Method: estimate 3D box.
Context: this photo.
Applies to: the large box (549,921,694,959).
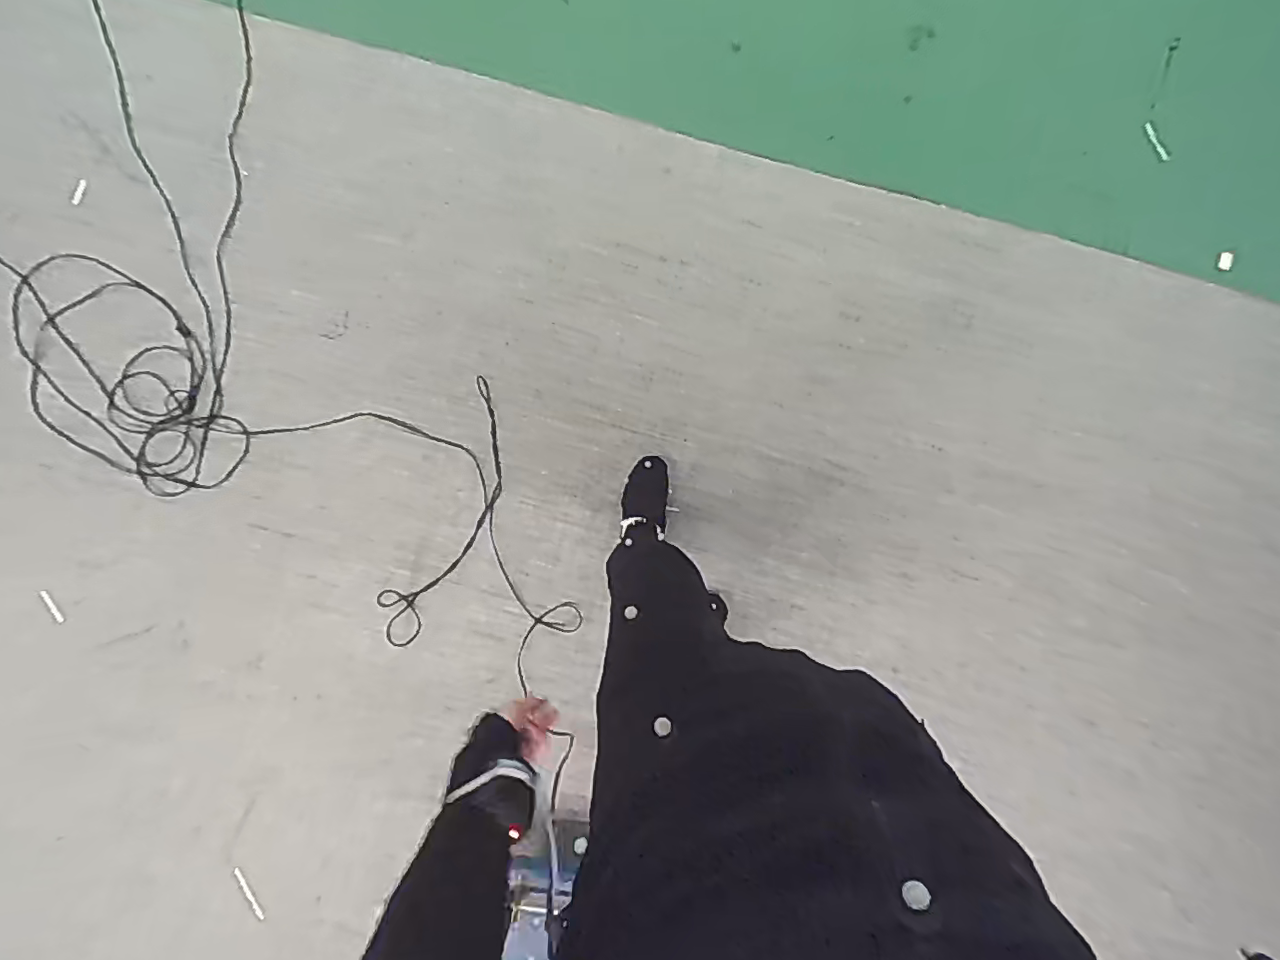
[{"bbox_3d":[-0.059,1.176,1.037,0.320,0.320,0.408,11,88,-1],"label":"large box"}]
